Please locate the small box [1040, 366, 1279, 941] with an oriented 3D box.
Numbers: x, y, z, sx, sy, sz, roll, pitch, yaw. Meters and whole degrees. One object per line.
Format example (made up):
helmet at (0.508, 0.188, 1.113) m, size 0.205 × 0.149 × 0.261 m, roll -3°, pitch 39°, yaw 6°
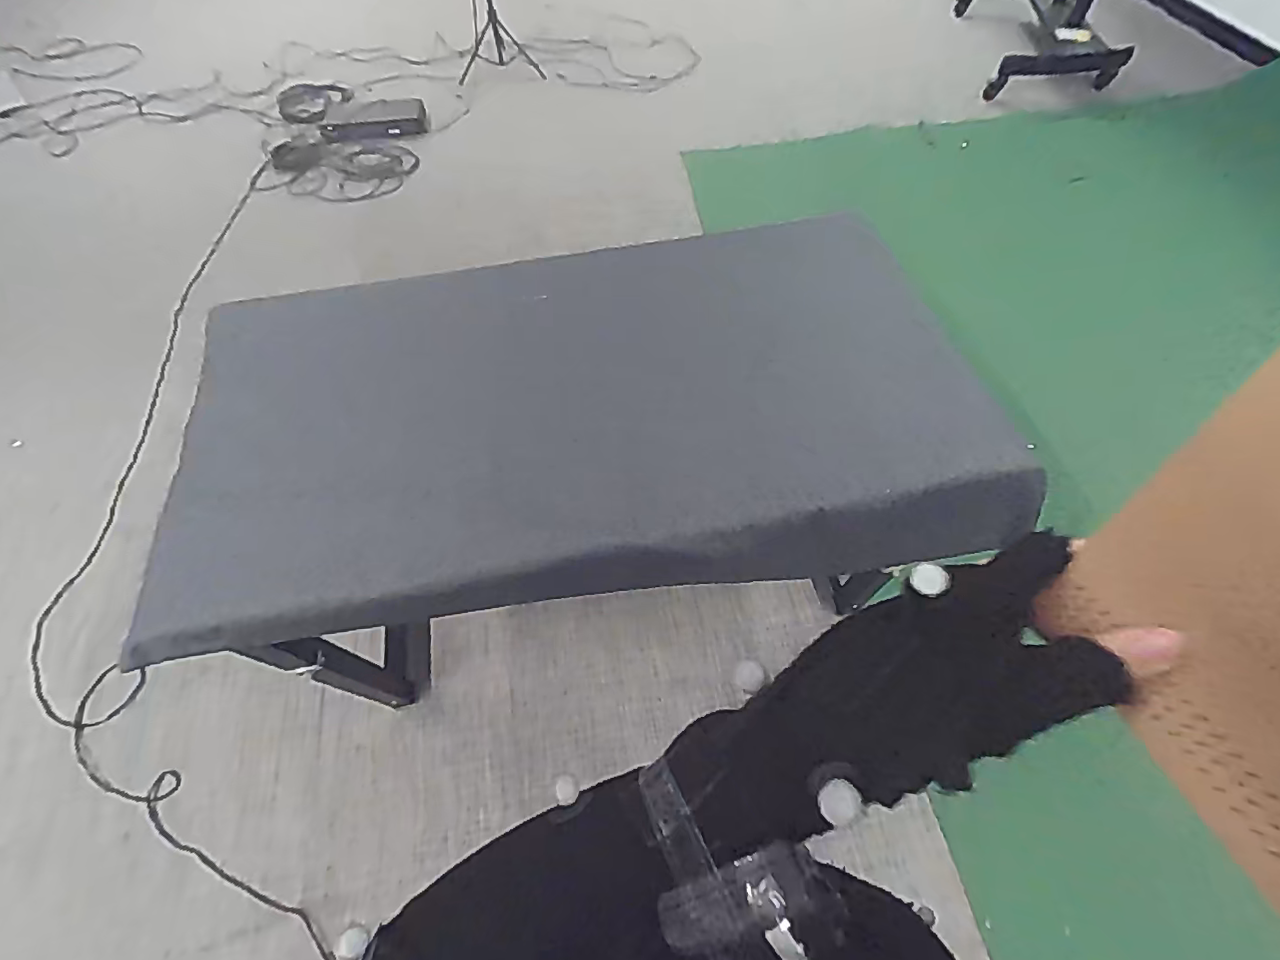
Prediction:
small box at (0.287, 0.064, 0.162) m, size 0.168 × 0.176 × 0.179 m, roll 2°, pitch 41°, yaw -11°
